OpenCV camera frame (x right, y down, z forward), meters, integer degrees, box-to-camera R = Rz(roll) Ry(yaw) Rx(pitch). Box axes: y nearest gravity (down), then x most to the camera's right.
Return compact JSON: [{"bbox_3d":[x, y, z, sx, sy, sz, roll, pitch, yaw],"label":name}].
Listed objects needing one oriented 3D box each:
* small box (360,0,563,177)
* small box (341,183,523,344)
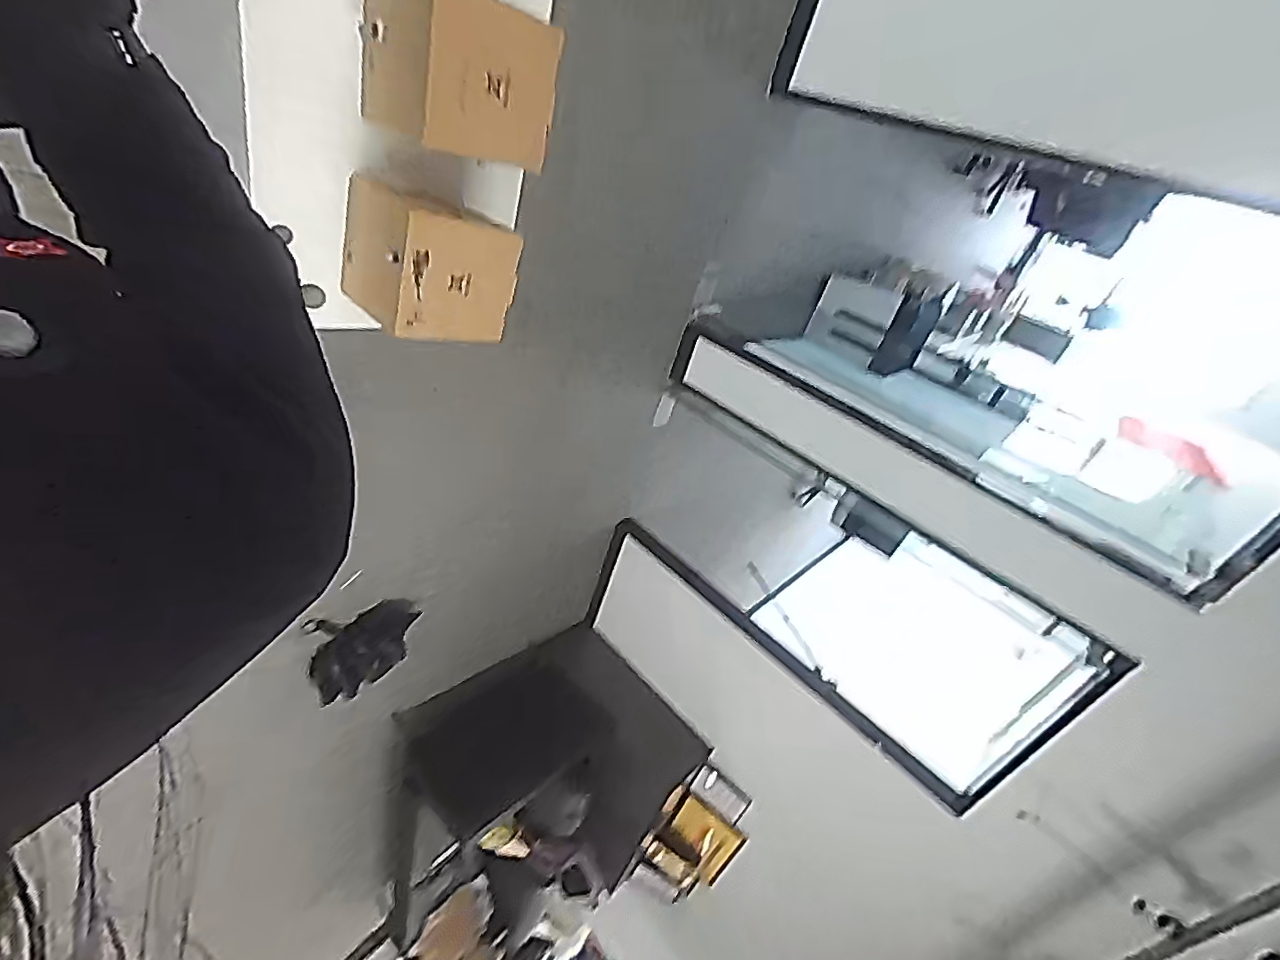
[{"bbox_3d":[-0.230,-0.510,0.689,0.179,0.176,0.168,-18,135,-44],"label":"small box"},{"bbox_3d":[-0.306,-0.313,0.794,0.179,0.176,0.168,-14,133,-50],"label":"small box"}]
